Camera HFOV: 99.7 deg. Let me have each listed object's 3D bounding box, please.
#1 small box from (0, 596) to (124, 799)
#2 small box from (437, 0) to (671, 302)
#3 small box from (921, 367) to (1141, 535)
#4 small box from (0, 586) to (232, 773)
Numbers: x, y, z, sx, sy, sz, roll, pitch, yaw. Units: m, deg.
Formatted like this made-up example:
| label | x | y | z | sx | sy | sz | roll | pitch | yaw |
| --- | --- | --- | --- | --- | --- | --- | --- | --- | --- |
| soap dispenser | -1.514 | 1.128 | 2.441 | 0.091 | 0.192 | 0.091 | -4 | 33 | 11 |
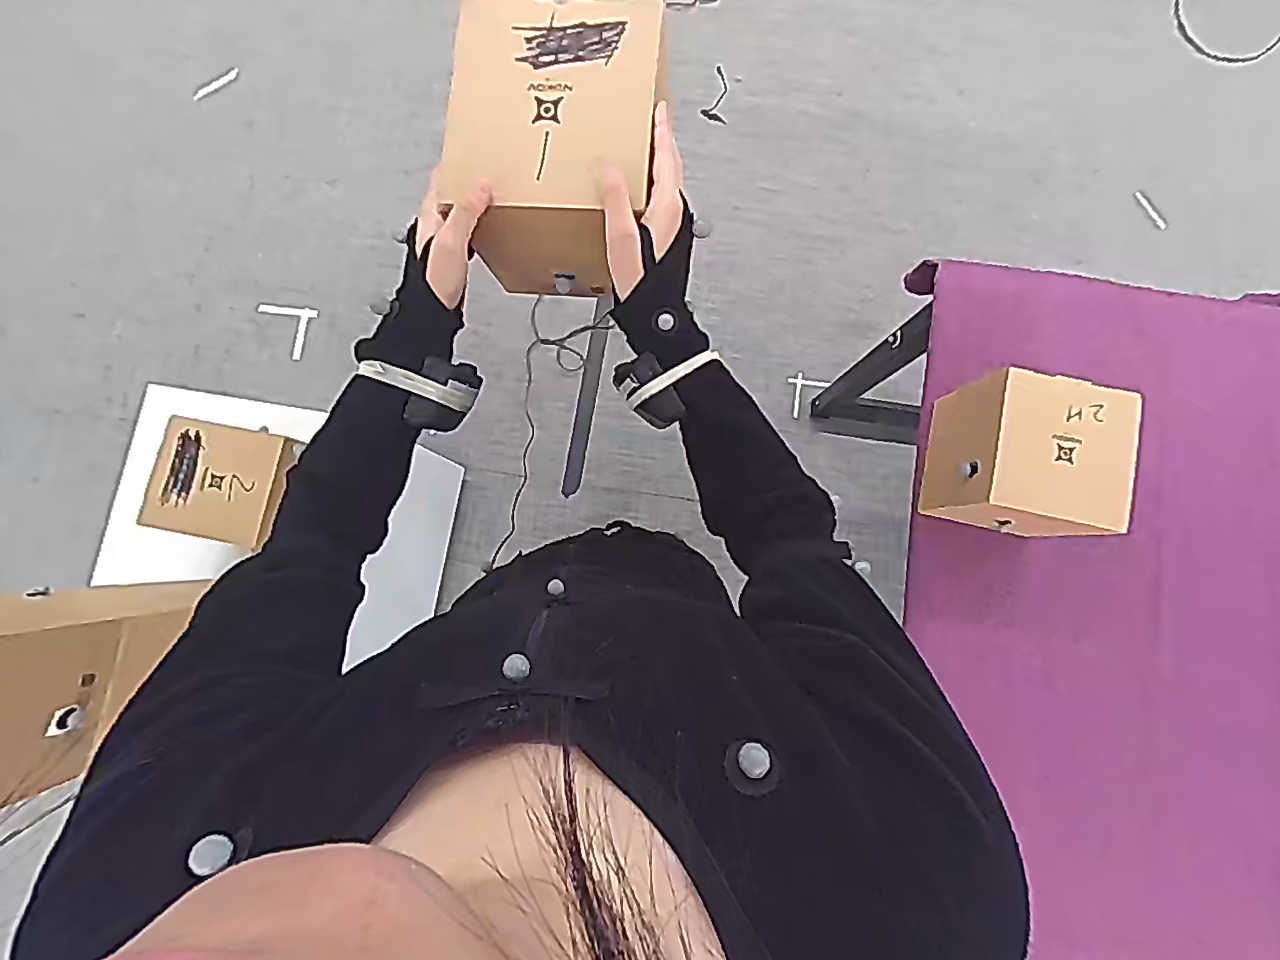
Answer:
| label | x | y | z | sx | sy | sz | roll | pitch | yaw |
| --- | --- | --- | --- | --- | --- | --- | --- | --- | --- |
| small box | -0.645 | 0.201 | 0.490 | 0.179 | 0.176 | 0.168 | 8 | 83 | 0 |
| small box | -0.061 | -0.286 | 0.495 | 0.168 | 0.176 | 0.179 | 5 | 86 | 6 |
| small box | 0.506 | -0.026 | 0.724 | 0.168 | 0.176 | 0.179 | 13 | 82 | 1 |
| small box | -0.646 | 0.224 | 0.651 | 0.179 | 0.176 | 0.168 | 8 | 83 | 1 |
